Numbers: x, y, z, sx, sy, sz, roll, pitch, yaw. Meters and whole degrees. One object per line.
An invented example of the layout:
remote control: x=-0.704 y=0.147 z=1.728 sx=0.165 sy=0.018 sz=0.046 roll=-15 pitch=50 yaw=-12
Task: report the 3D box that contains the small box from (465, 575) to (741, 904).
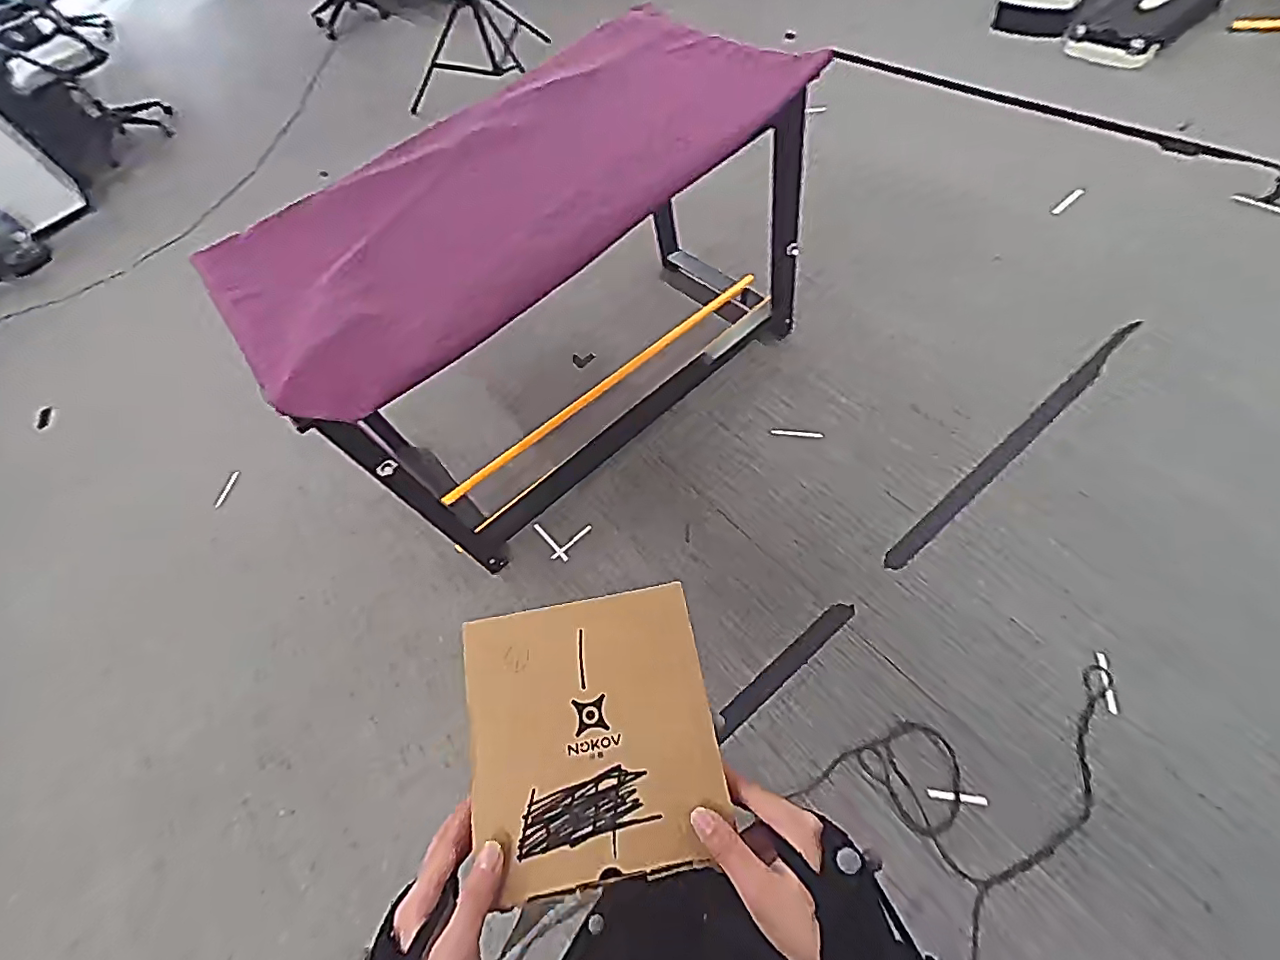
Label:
small box: x=-0.030 y=0.192 z=0.427 sx=0.168 sy=0.176 sz=0.179 roll=-9 pitch=64 yaw=-4
